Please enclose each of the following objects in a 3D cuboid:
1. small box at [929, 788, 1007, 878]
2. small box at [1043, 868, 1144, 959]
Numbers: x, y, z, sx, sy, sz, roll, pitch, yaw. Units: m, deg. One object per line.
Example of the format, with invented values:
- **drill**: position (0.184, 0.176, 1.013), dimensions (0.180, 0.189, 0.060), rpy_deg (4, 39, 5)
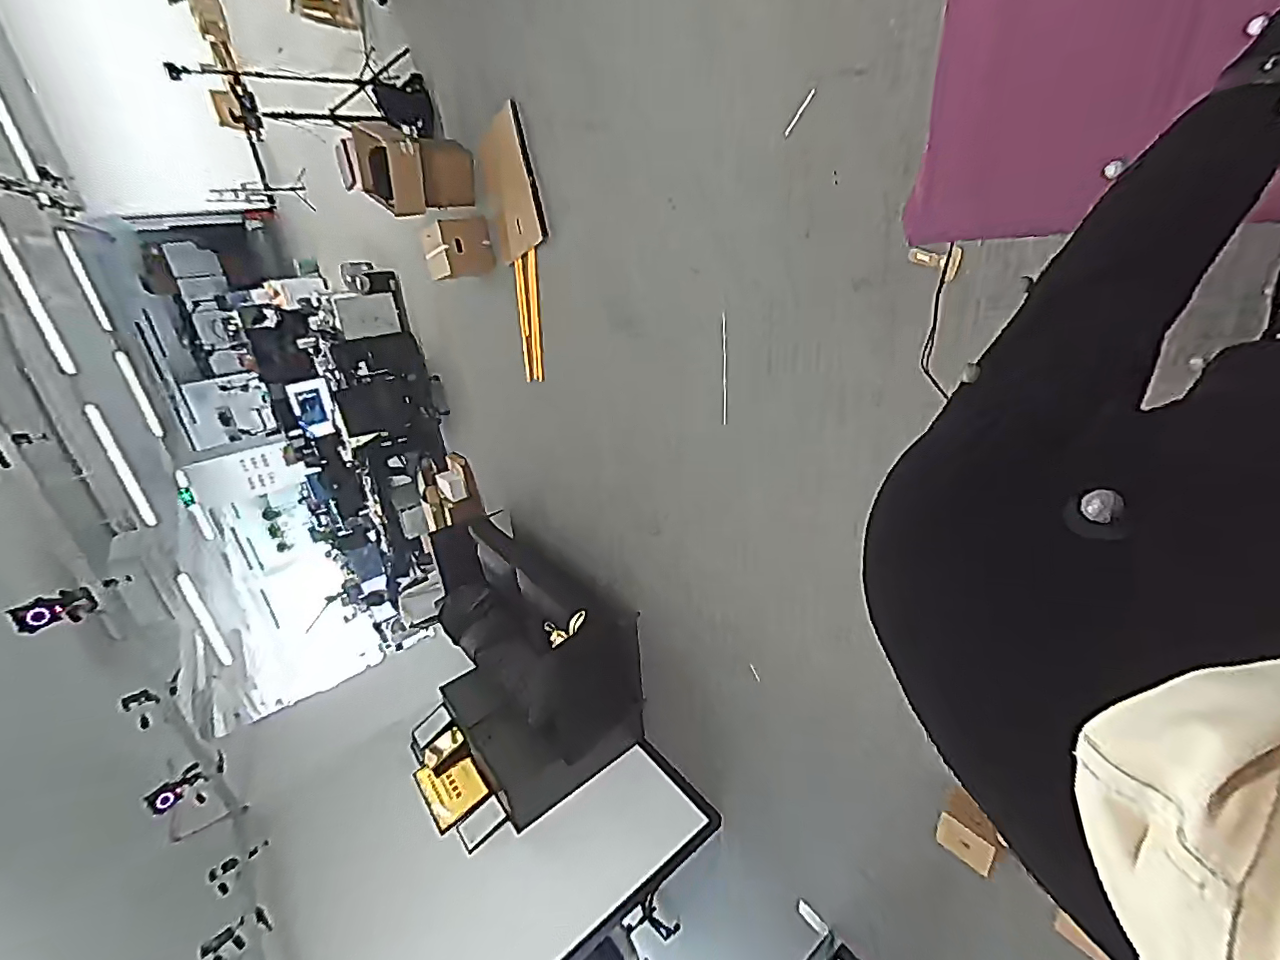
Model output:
- **small box**: position (1.159, 1.234, 1.909), dimensions (0.179, 0.176, 0.168), rpy_deg (26, 128, 47)
- **small box**: position (1.384, 1.339, 1.651), dimensions (0.179, 0.176, 0.168), rpy_deg (26, 130, 45)
